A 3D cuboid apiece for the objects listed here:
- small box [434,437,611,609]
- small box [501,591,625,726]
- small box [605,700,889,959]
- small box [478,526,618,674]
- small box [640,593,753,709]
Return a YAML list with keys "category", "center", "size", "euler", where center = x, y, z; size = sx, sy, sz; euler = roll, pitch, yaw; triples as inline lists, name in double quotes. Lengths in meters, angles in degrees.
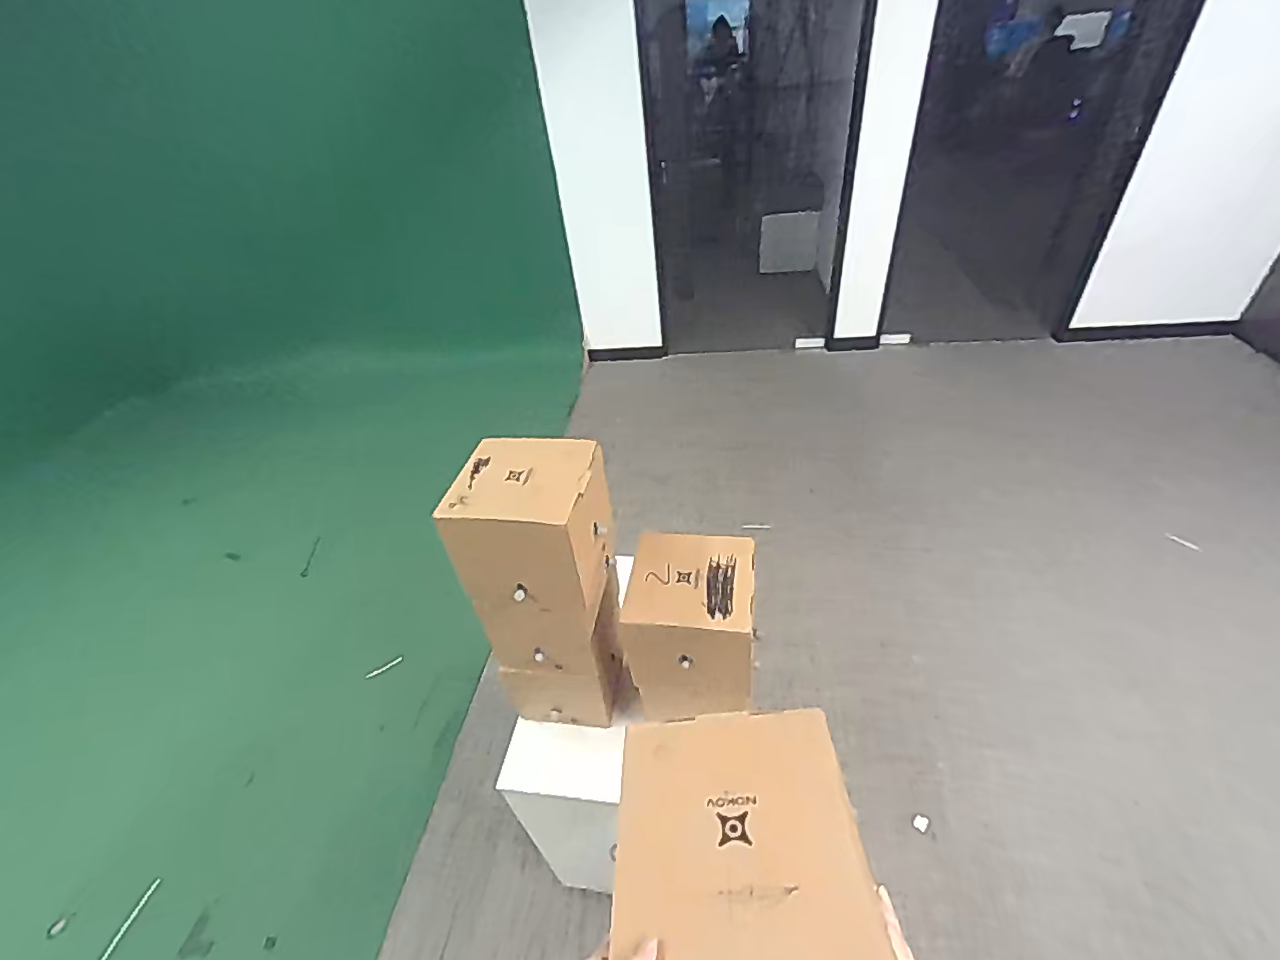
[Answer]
- category: "small box"
  center: [-0.145, 0.060, 0.749]
  size: [0.179, 0.176, 0.168]
  euler: [4, 41, 11]
- category: "small box"
  center: [-0.124, 0.308, 0.964]
  size: [0.168, 0.176, 0.179]
  euler: [2, 42, 10]
- category: "small box"
  center: [0.078, 0.302, 0.420]
  size: [0.168, 0.176, 0.179]
  euler: [-8, 29, 8]
- category: "small box"
  center: [-0.134, 0.180, 0.861]
  size: [0.168, 0.176, 0.179]
  euler: [3, 41, 11]
- category: "small box"
  center: [0.103, 0.318, 0.916]
  size: [0.168, 0.176, 0.179]
  euler: [2, 41, 13]
